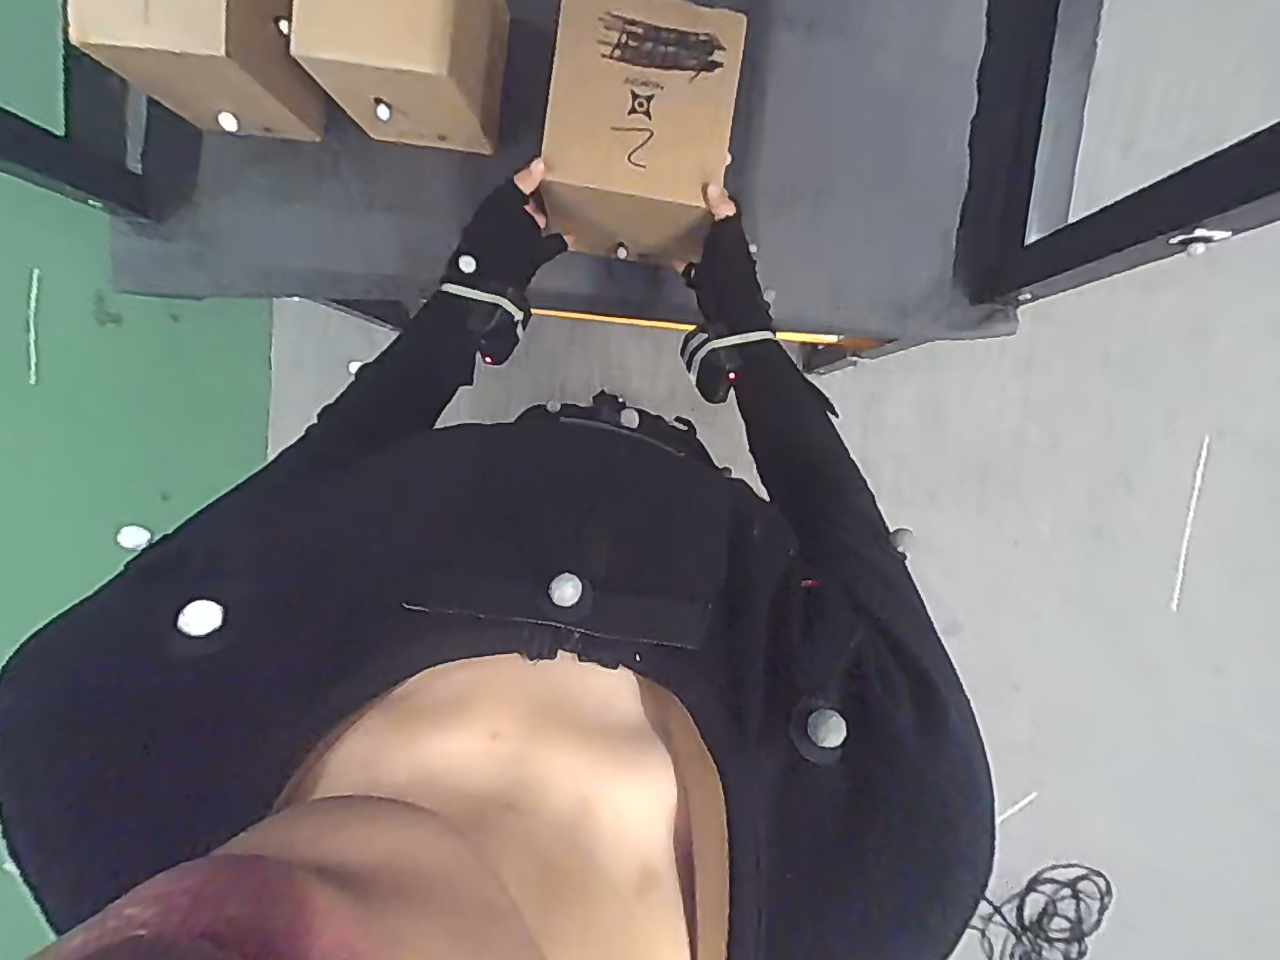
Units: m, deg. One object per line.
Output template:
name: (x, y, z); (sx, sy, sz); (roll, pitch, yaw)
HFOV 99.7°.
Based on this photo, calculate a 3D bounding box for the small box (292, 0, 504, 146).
small box: (-0.264, -0.521, 0.624); (0.168, 0.176, 0.179); (7, 95, 0)

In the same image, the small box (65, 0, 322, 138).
small box: (-0.491, -0.537, 0.622); (0.168, 0.176, 0.179); (6, 96, 0)
